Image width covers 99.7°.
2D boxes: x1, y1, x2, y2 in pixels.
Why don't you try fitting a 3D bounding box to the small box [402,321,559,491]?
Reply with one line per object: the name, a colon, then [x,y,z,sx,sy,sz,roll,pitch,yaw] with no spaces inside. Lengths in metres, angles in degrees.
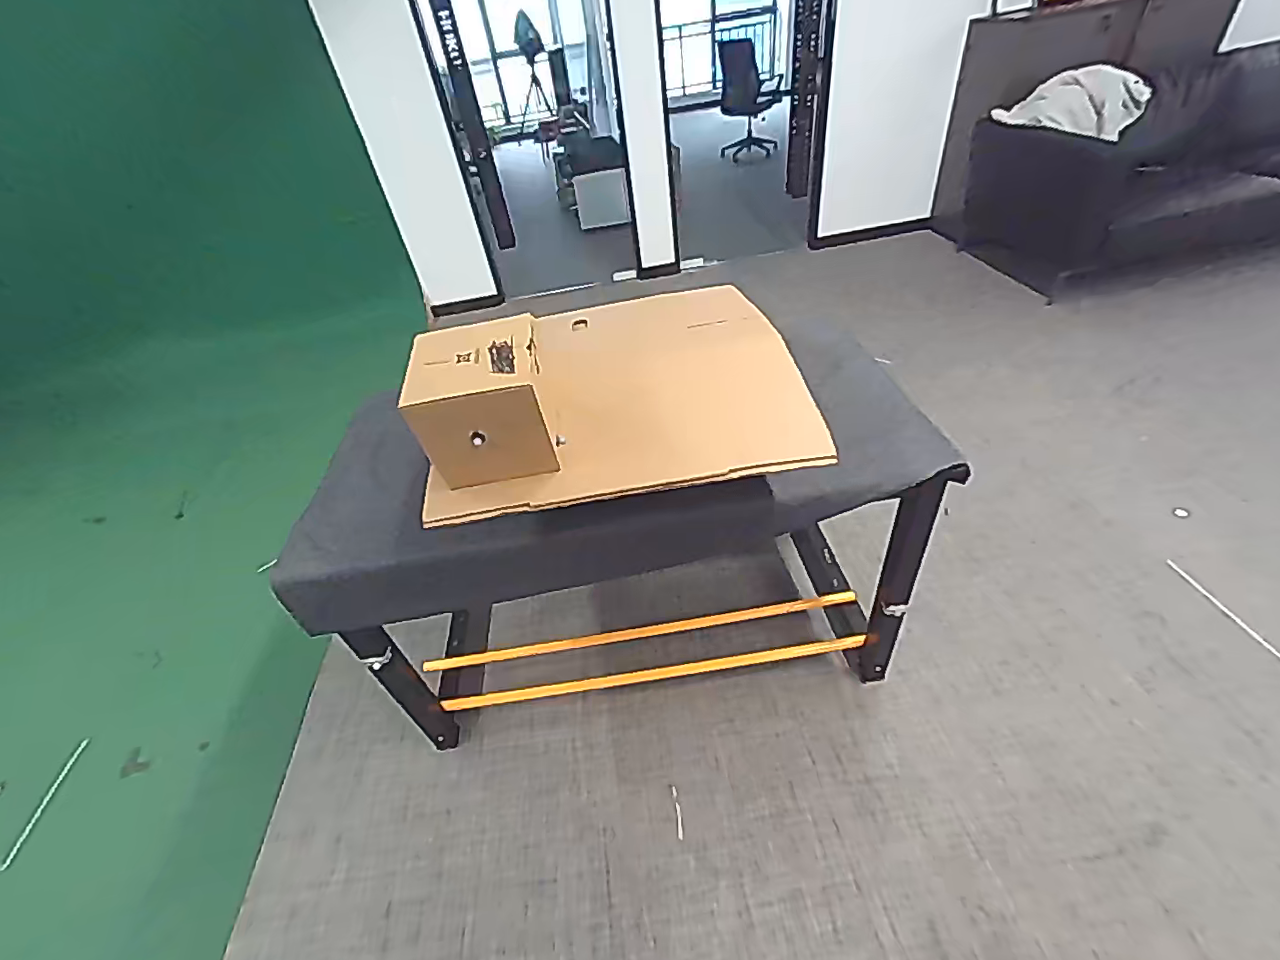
small box: [-0.219,-0.106,0.802,0.179,0.176,0.168,-10,48,1]
